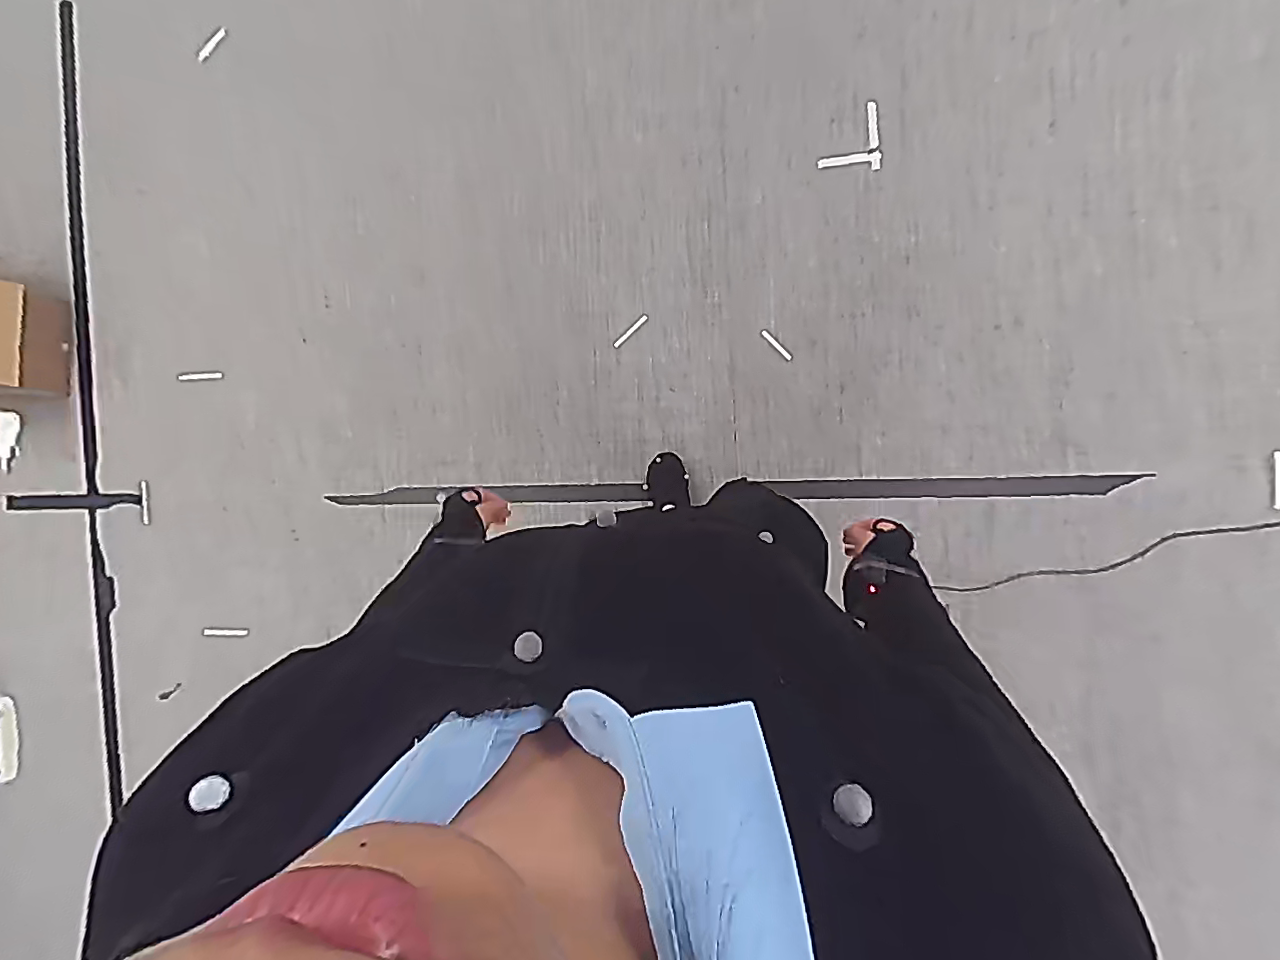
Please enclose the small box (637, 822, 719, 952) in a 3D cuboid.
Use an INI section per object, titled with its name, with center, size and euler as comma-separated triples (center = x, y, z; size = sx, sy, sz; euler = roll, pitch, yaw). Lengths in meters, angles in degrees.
[small box]
center = 0.092, 0.916, 1.229
size = 0.168, 0.176, 0.179
euler = -6, 90, 7
